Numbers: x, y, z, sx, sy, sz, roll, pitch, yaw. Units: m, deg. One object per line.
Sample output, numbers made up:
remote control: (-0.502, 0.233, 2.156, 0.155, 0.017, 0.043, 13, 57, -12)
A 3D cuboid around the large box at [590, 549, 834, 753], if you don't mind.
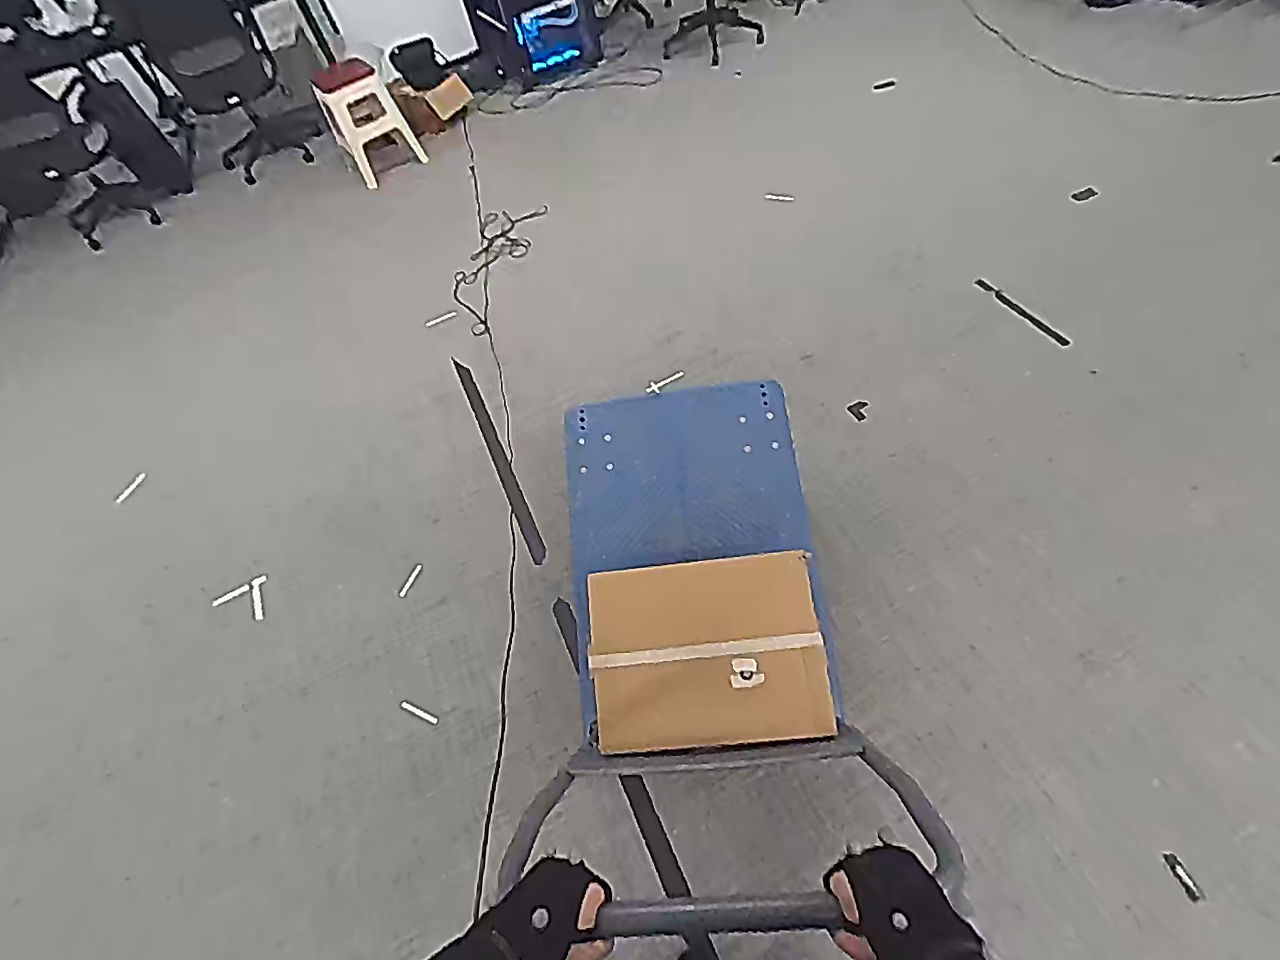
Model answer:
large box: (0.132, 0.345, 1.116, 0.408, 0.320, 0.320, -8, 74, 4)
